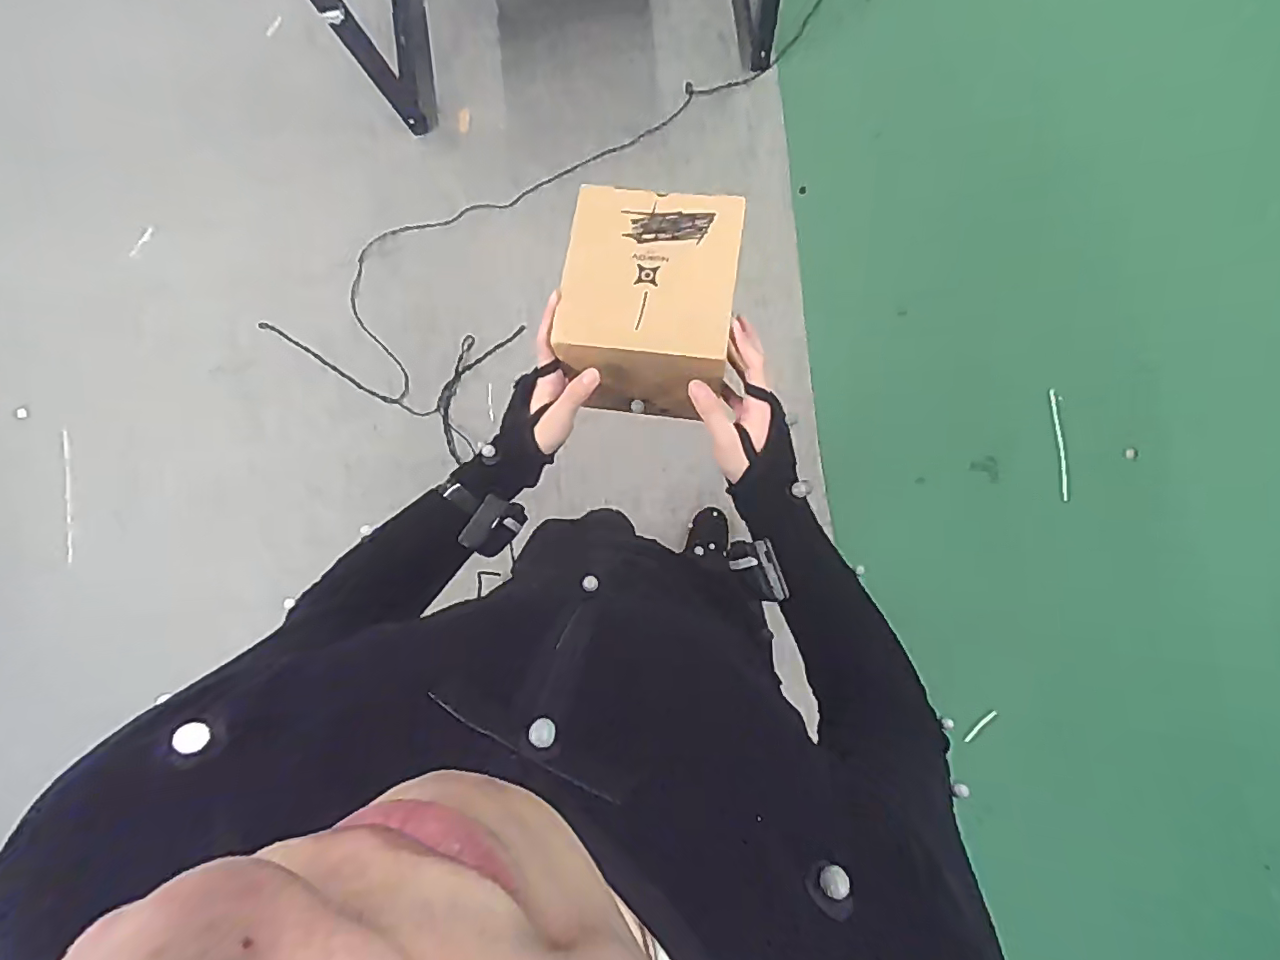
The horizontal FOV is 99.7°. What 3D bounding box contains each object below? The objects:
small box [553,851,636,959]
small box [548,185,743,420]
[{"bbox_3d":[-0.104,1.037,1.303,0.168,0.176,0.179,-5,86,6],"label":"small box"},{"bbox_3d":[0.012,-0.182,0.590,0.168,0.176,0.179,7,77,6],"label":"small box"}]
